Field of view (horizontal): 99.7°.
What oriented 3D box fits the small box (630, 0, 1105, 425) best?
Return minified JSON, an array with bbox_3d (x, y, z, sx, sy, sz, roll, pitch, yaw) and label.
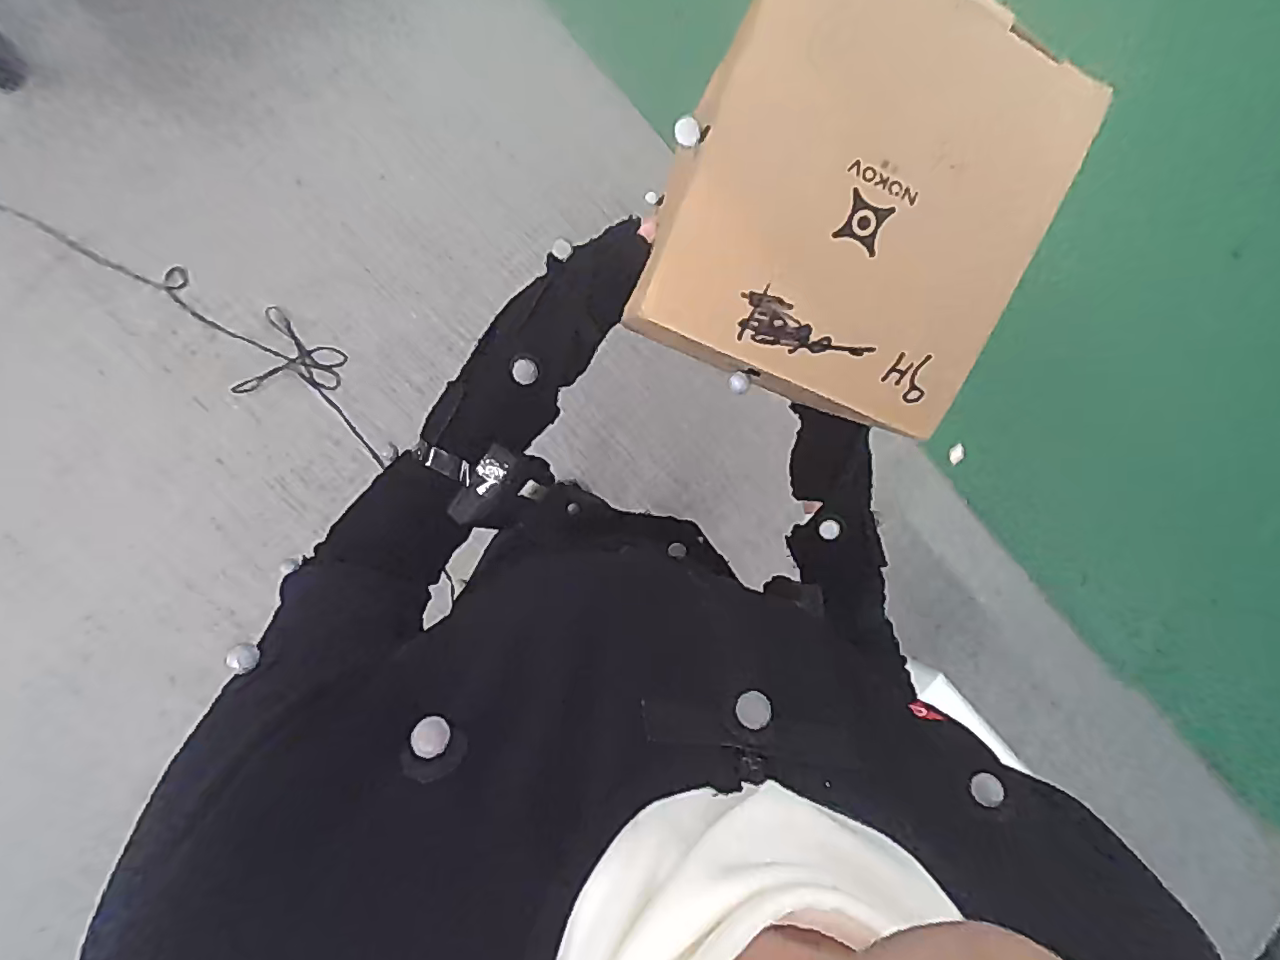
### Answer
[{"bbox_3d":[0.098,-0.153,0.324,0.168,0.176,0.179,20,103,-9],"label":"small box"}]
